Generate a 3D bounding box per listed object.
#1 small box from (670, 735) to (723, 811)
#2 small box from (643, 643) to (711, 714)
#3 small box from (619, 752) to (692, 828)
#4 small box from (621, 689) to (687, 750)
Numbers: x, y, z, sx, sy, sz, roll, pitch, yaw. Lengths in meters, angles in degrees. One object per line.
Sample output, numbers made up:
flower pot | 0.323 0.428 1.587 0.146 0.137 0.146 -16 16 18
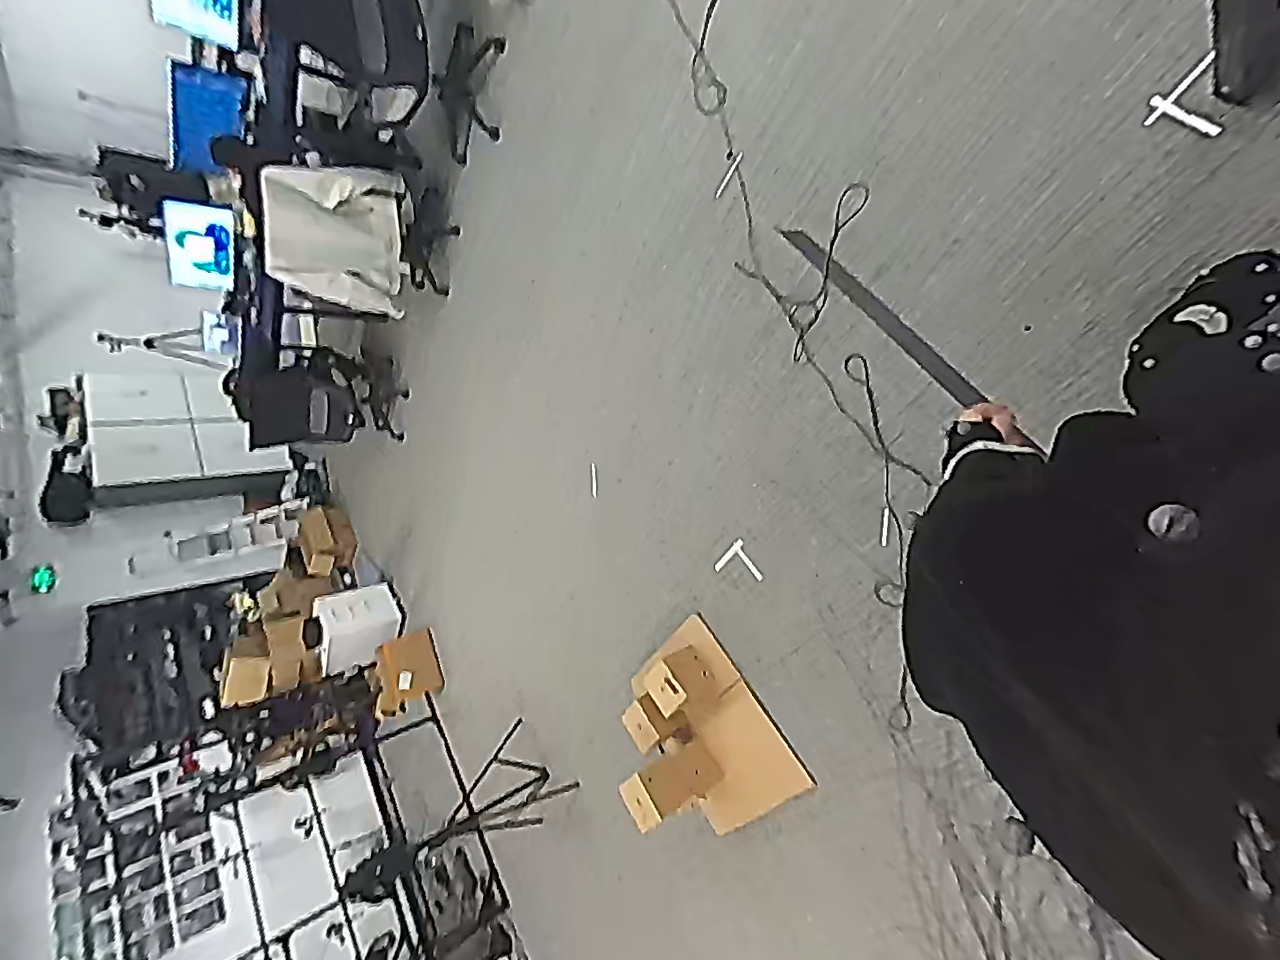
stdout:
small box | 0.191 1.135 2.102 0.179 0.176 0.168 50 129 28
small box | 0.149 0.757 2.079 0.168 0.176 0.179 51 130 28
small box | 0.058 1.138 2.001 0.179 0.176 0.168 54 132 26
small box | 0.059 0.962 2.217 0.179 0.176 0.168 50 131 28
